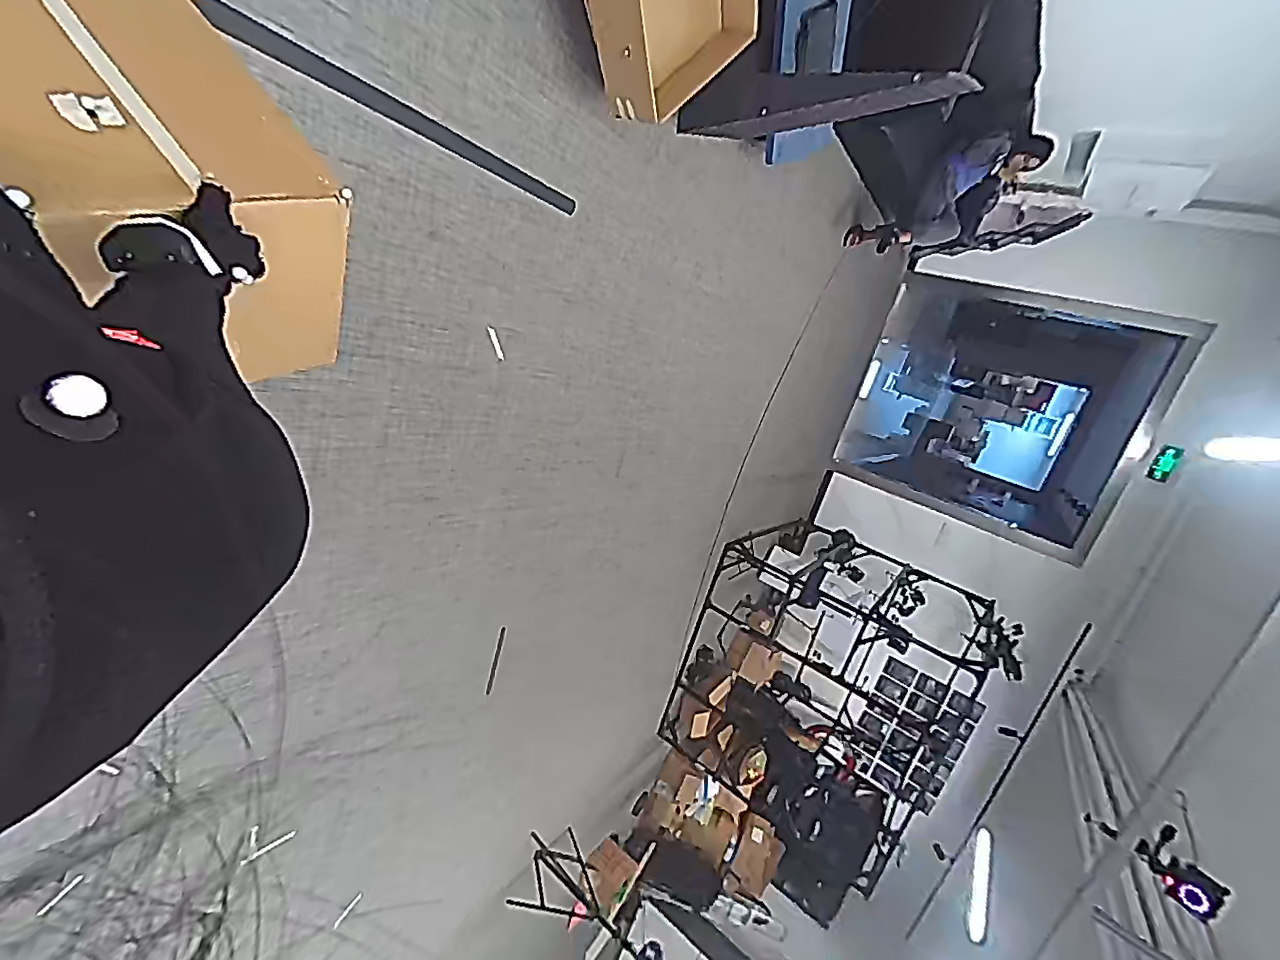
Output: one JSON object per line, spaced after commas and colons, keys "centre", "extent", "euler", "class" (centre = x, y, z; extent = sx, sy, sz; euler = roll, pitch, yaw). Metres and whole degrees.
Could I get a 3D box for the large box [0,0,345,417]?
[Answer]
{"centre": [-0.665, -0.363, 0.713], "extent": [0.320, 0.408, 0.320], "euler": [-35, 173, -42], "class": "large box"}
